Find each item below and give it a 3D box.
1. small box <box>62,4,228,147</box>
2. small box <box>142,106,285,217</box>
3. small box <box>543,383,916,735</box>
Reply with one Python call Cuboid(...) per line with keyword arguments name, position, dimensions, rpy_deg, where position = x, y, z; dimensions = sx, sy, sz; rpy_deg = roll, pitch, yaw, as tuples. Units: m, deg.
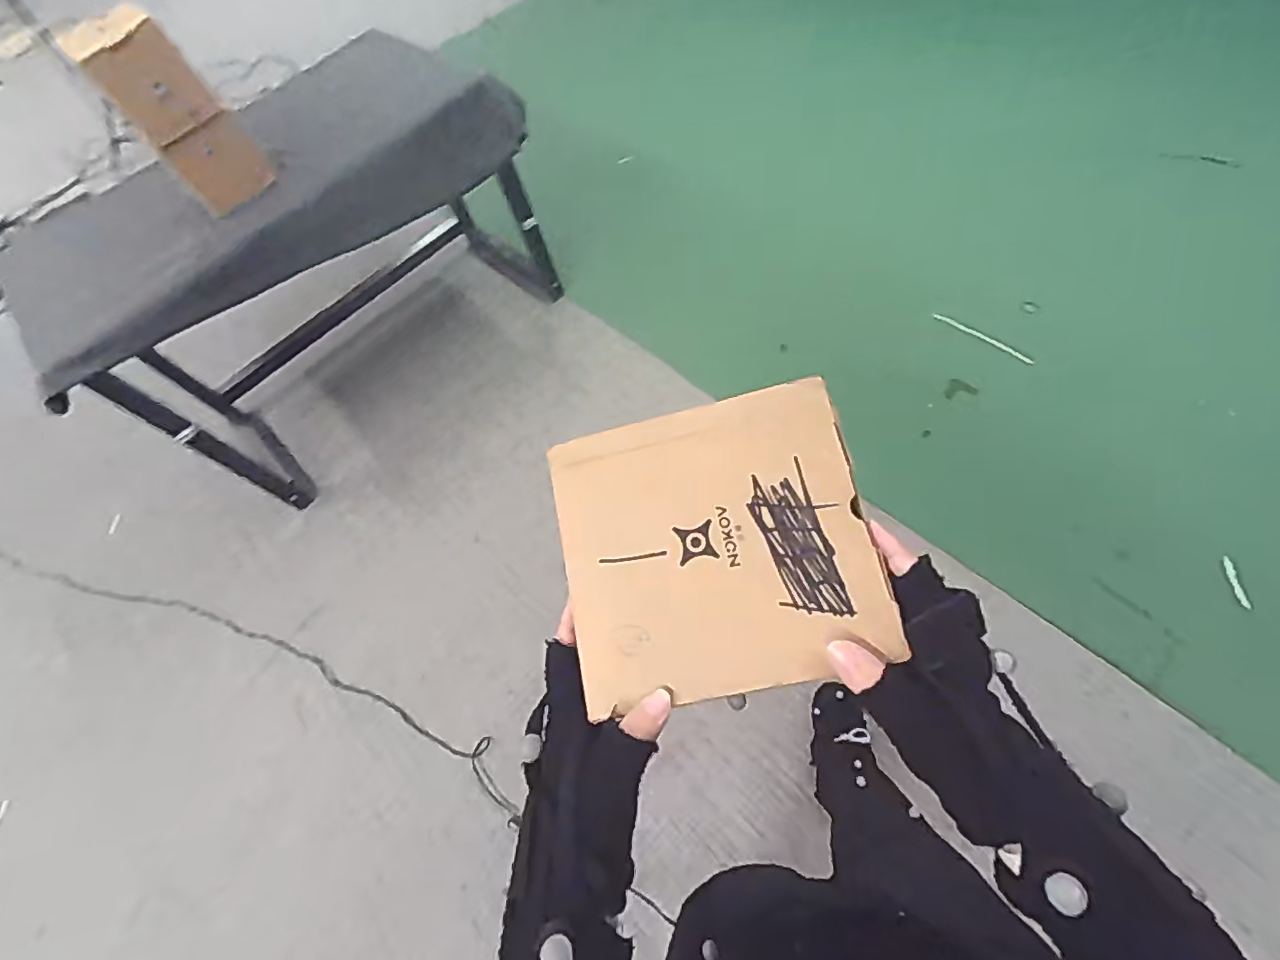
Cuboid(name="small box", position=(-1.008, -0.824, 1.115), dimensions=(0.179, 0.176, 0.168), rpy_deg=(39, 75, 25))
Cuboid(name="small box", position=(-0.984, -0.751, 1.260), dimensions=(0.168, 0.176, 0.179), rpy_deg=(39, 74, 26))
Cuboid(name="small box", position=(0.052, 0.059, 0.381), dimensions=(0.179, 0.176, 0.168), rpy_deg=(-16, 73, 4))
